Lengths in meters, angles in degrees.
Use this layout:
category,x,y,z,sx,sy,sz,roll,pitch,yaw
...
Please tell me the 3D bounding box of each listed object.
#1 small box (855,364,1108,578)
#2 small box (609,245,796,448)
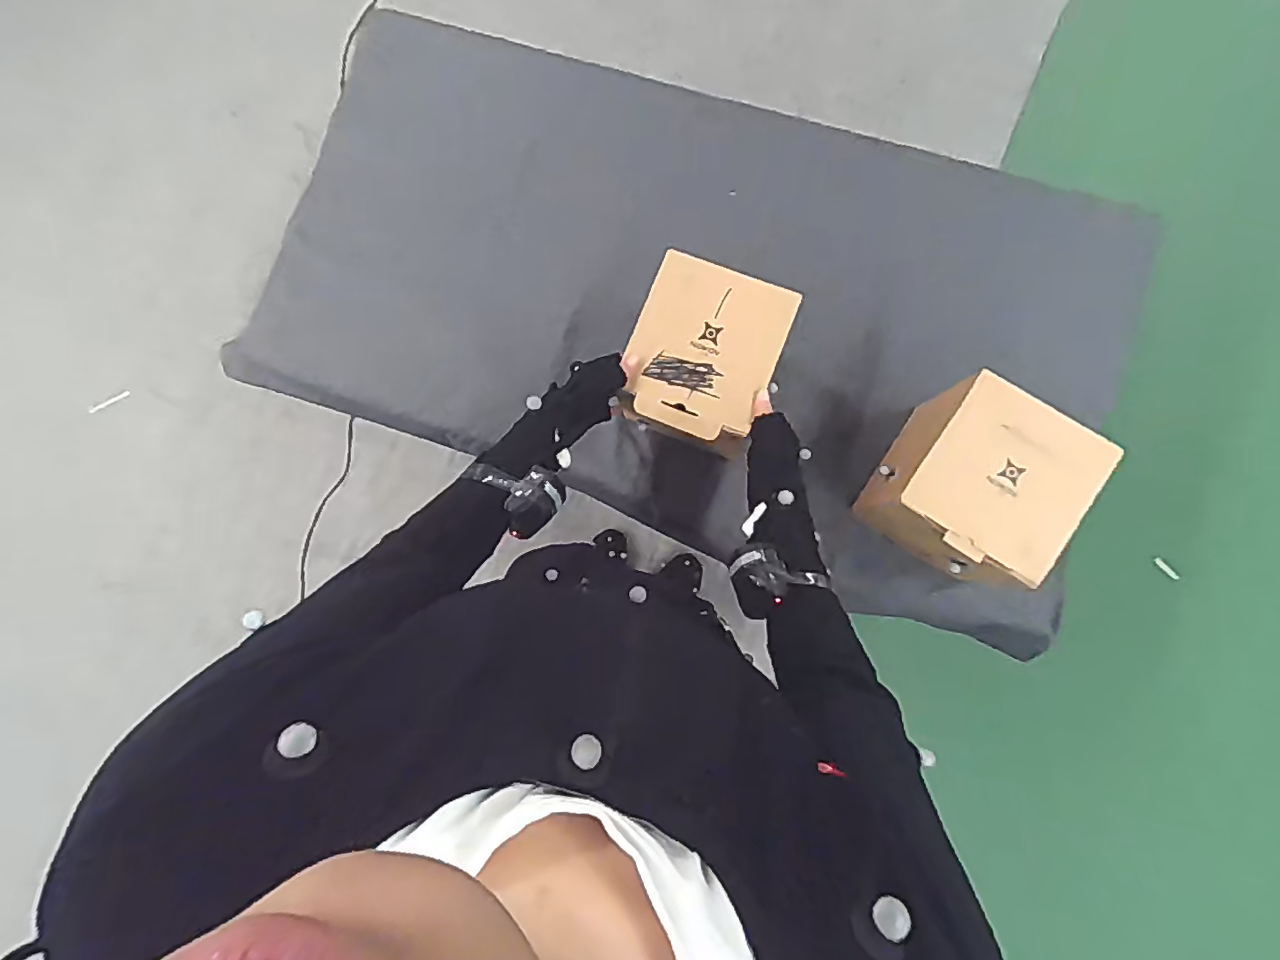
category,x,y,z,sx,sy,sz,roll,pitch,yaw
small box,0.387,-0.003,0.654,0.168,0.176,0.179,33,86,6
small box,0.077,-0.155,0.689,0.168,0.176,0.179,22,85,5
